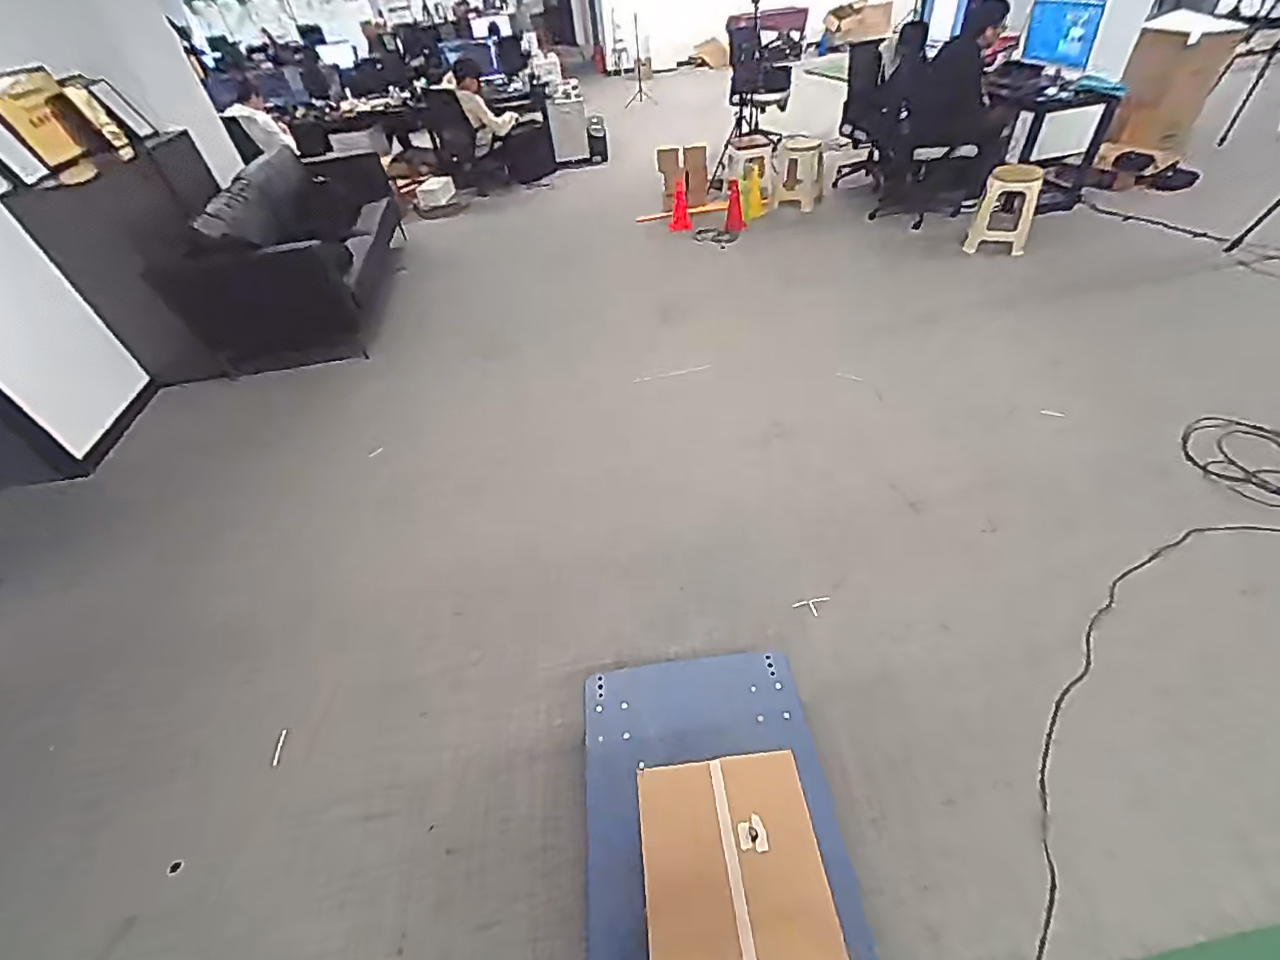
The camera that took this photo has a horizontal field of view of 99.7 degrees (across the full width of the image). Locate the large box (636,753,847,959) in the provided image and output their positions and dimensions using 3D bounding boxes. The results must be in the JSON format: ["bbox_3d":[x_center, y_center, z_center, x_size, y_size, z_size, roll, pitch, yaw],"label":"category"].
[{"bbox_3d":[0.179,0.810,1.041,0.320,0.320,0.408,-7,43,0],"label":"large box"}]
